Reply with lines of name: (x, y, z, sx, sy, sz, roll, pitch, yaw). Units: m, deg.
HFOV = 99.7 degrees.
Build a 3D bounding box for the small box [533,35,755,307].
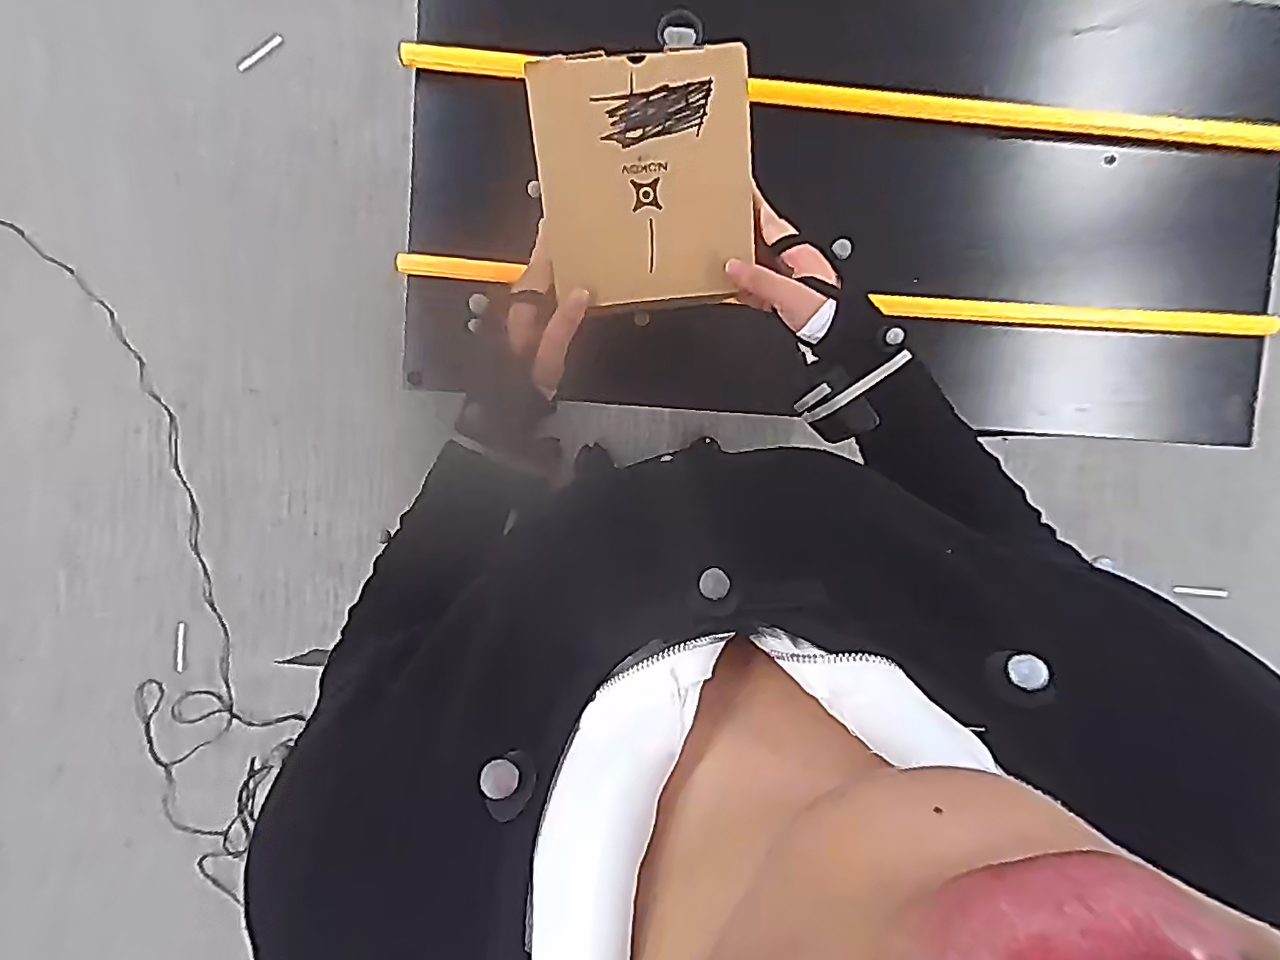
small box: (0.002, -0.259, 0.495, 0.168, 0.176, 0.179, -6, 106, -2)
